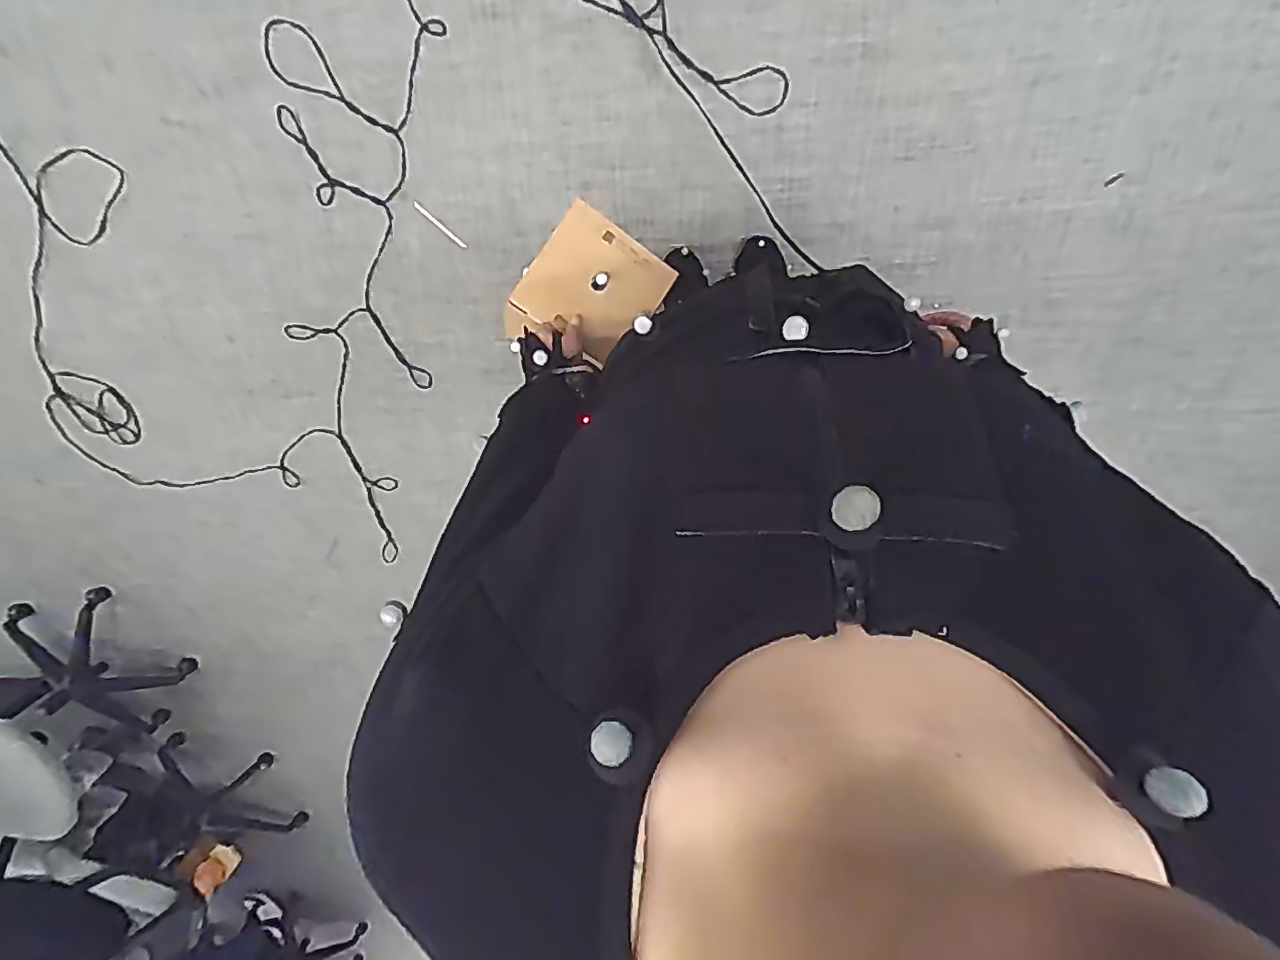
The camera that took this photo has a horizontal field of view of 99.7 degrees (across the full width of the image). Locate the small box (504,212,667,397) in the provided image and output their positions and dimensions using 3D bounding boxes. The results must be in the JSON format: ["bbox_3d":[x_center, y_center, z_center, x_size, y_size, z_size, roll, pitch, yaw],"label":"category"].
[{"bbox_3d":[-0.081,-0.246,0.786,0.168,0.179,0.176,32,81,-13],"label":"small box"}]
